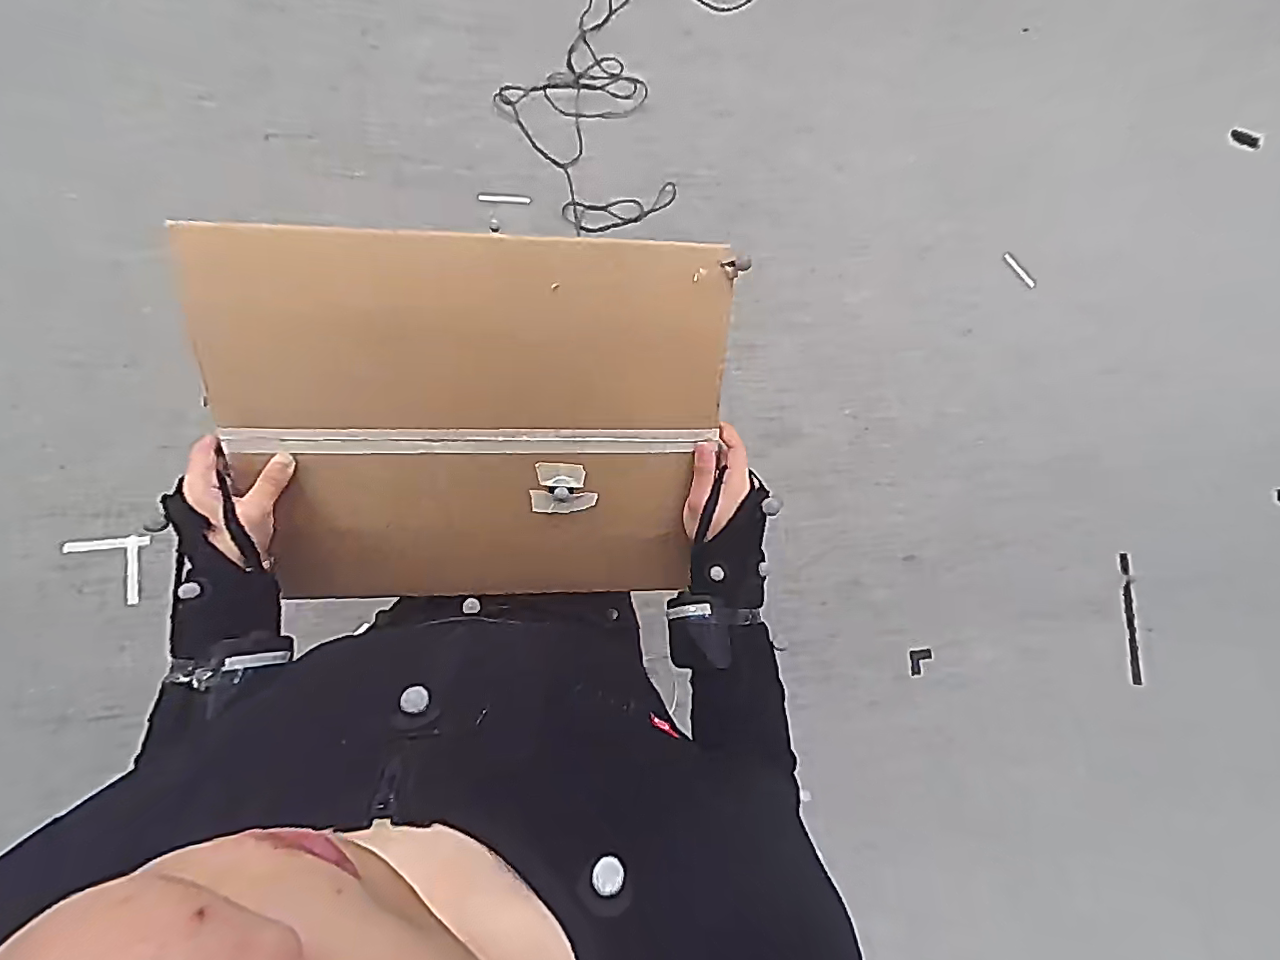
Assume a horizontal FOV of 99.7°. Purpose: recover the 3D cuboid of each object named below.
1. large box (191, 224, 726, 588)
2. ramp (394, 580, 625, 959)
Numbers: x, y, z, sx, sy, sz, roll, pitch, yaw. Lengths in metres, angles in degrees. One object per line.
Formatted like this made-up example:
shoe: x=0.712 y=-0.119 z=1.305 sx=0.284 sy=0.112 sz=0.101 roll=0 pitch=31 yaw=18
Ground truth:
large box: x=-0.149 y=-0.104 z=0.602 sx=0.408 sy=0.320 sz=0.320 roll=-1 pitch=115 yaw=-7
ramp: x=-0.305 y=0.751 z=1.251 sx=0.509 sy=0.206 sz=0.991 roll=-4 pitch=84 yaw=-9
